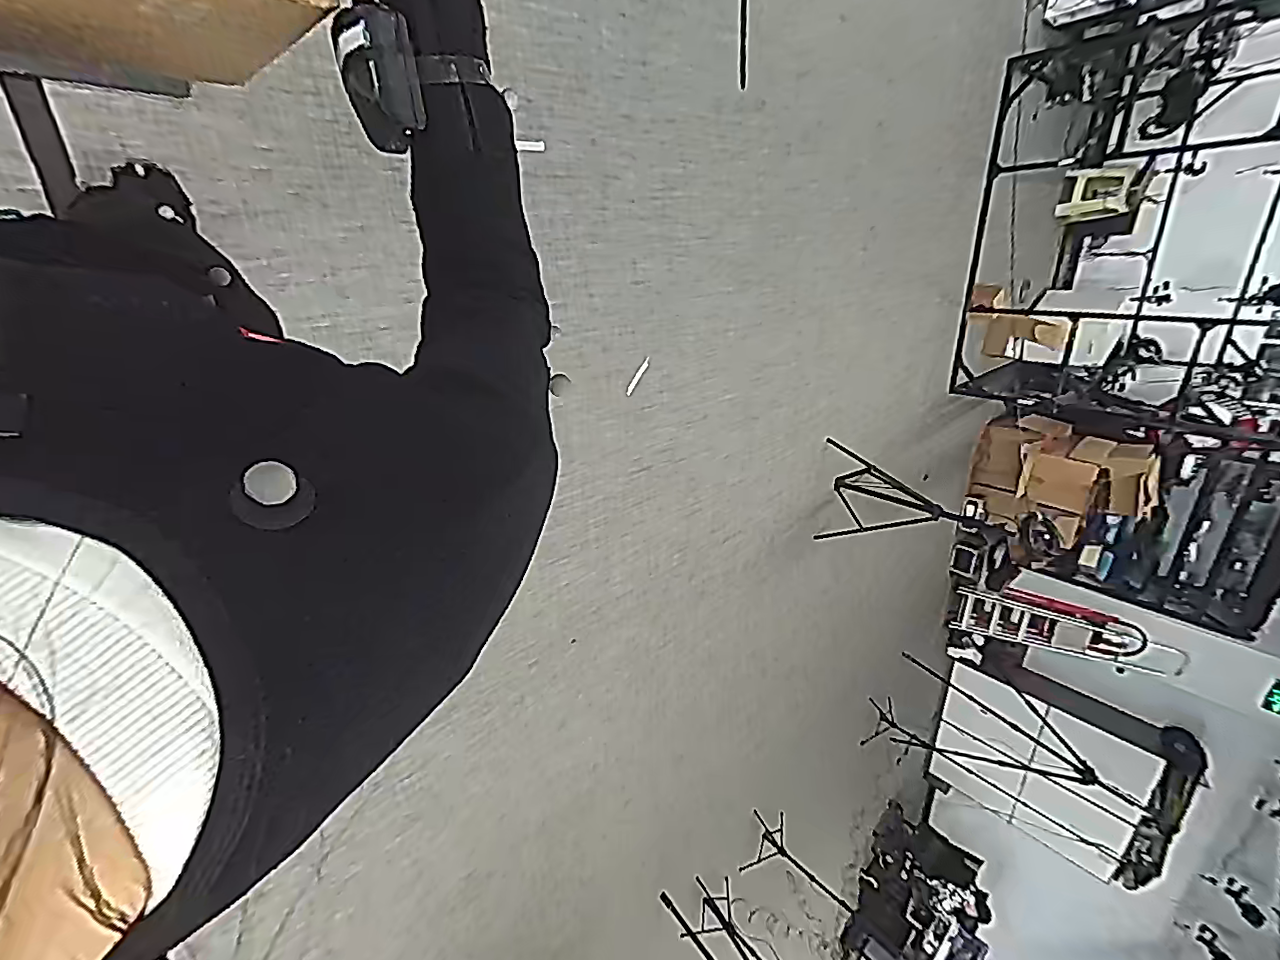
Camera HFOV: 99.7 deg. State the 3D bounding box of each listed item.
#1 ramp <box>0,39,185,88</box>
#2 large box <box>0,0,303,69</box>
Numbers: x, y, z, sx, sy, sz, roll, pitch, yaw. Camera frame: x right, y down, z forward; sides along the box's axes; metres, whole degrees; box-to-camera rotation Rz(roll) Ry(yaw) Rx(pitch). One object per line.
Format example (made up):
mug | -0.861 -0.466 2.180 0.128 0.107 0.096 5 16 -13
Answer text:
ramp | -0.977 -1.102 0.627 0.509 0.206 0.991 -21 120 -38
large box | -0.423 -0.412 0.223 0.408 0.320 0.320 -21 125 -38
